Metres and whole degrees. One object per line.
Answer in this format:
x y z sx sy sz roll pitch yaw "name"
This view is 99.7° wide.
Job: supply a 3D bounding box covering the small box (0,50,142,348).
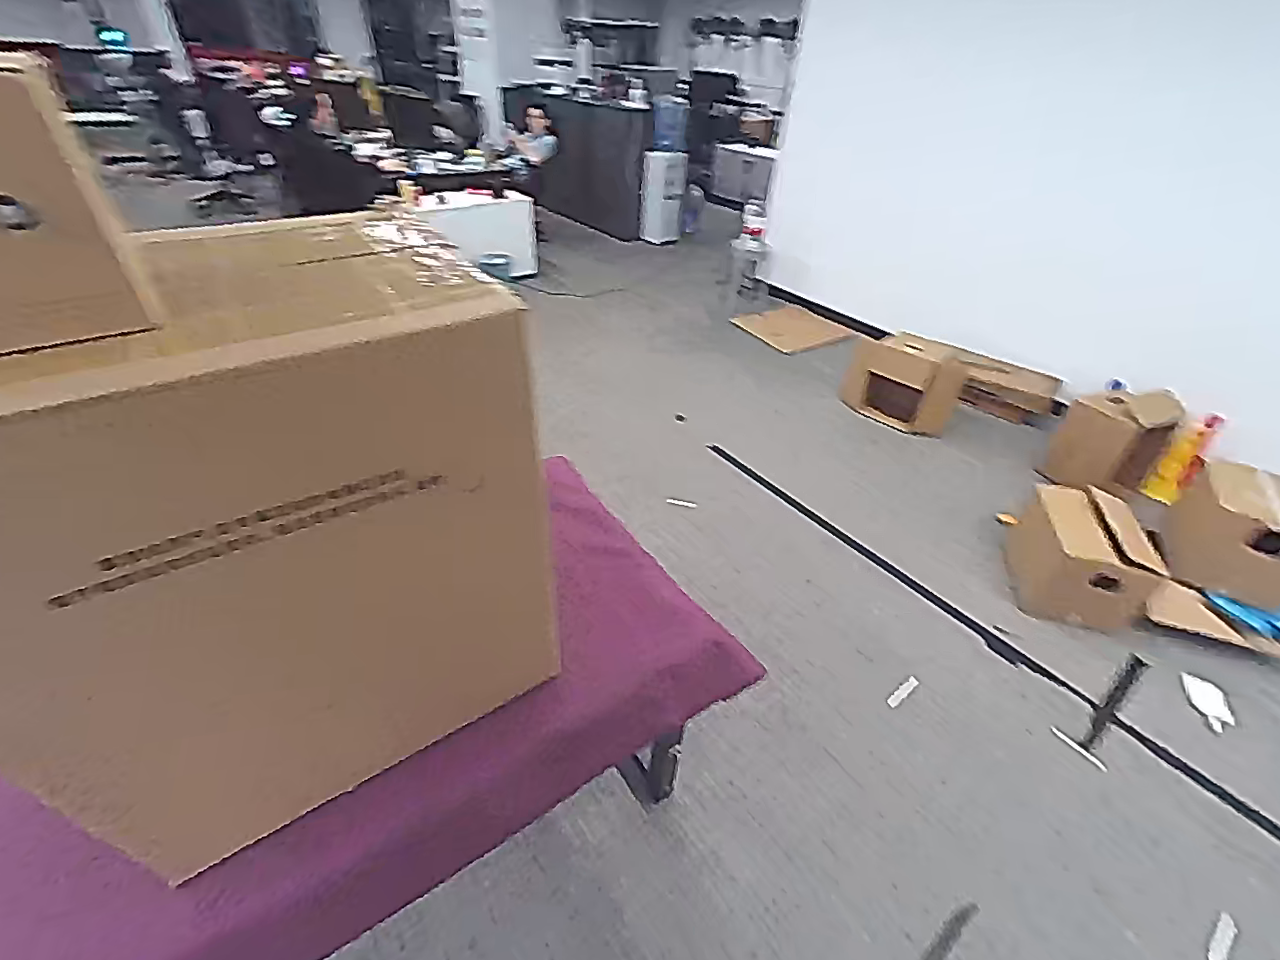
-0.496 -0.195 0.380 0.179 0.176 0.168 -26 47 -31 "small box"
